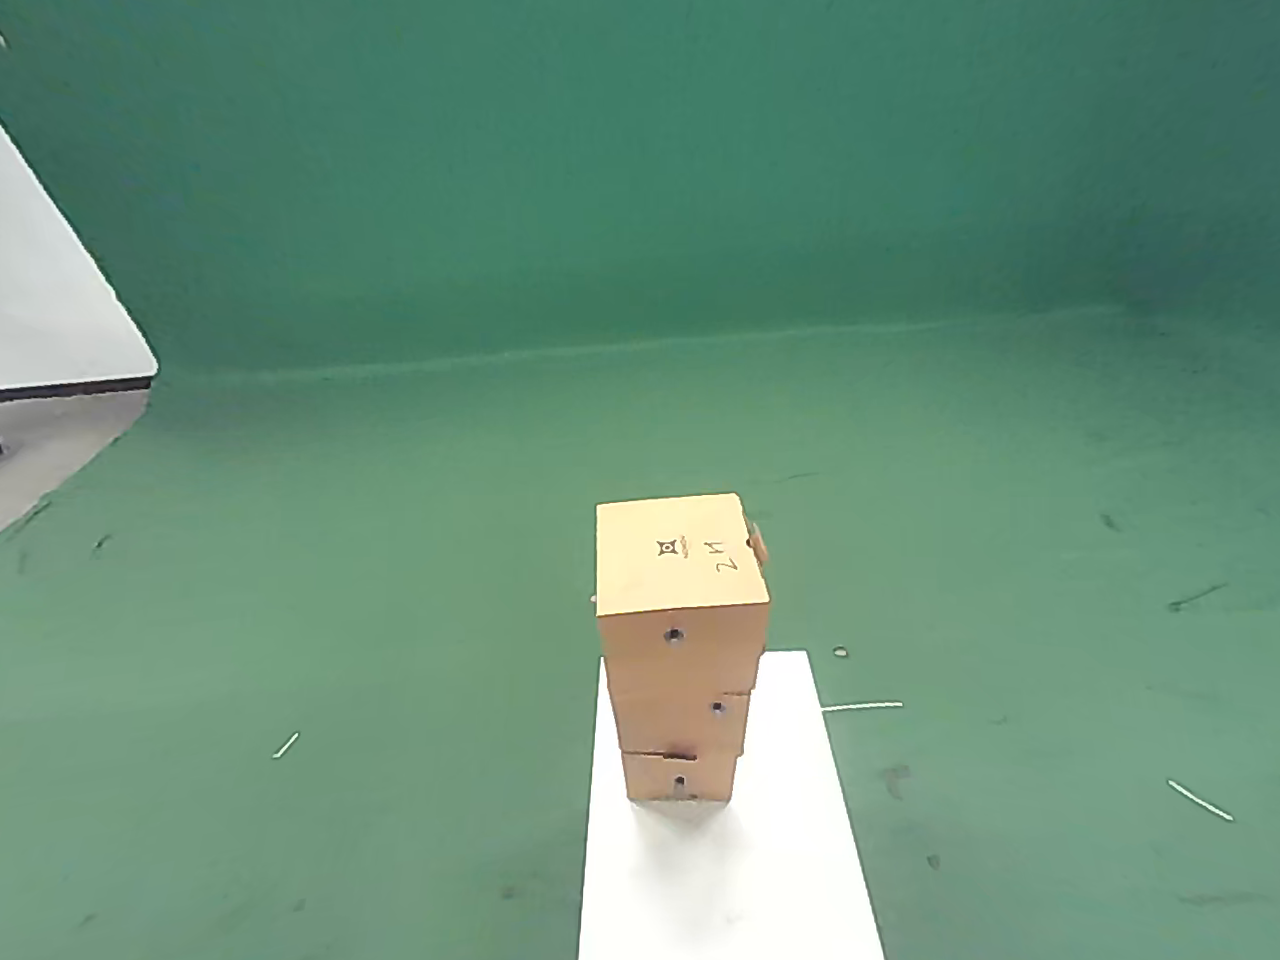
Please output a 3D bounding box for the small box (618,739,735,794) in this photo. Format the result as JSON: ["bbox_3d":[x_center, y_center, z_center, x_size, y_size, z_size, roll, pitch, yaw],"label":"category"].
[{"bbox_3d":[0.058,0.376,0.853,0.168,0.176,0.179,-1,40,3],"label":"small box"}]

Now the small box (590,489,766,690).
[{"bbox_3d":[0.039,0.130,0.637,0.179,0.176,0.168,-4,41,-1],"label":"small box"}]

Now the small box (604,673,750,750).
[{"bbox_3d":[0.053,0.253,0.746,0.179,0.176,0.168,1,40,5],"label":"small box"}]
